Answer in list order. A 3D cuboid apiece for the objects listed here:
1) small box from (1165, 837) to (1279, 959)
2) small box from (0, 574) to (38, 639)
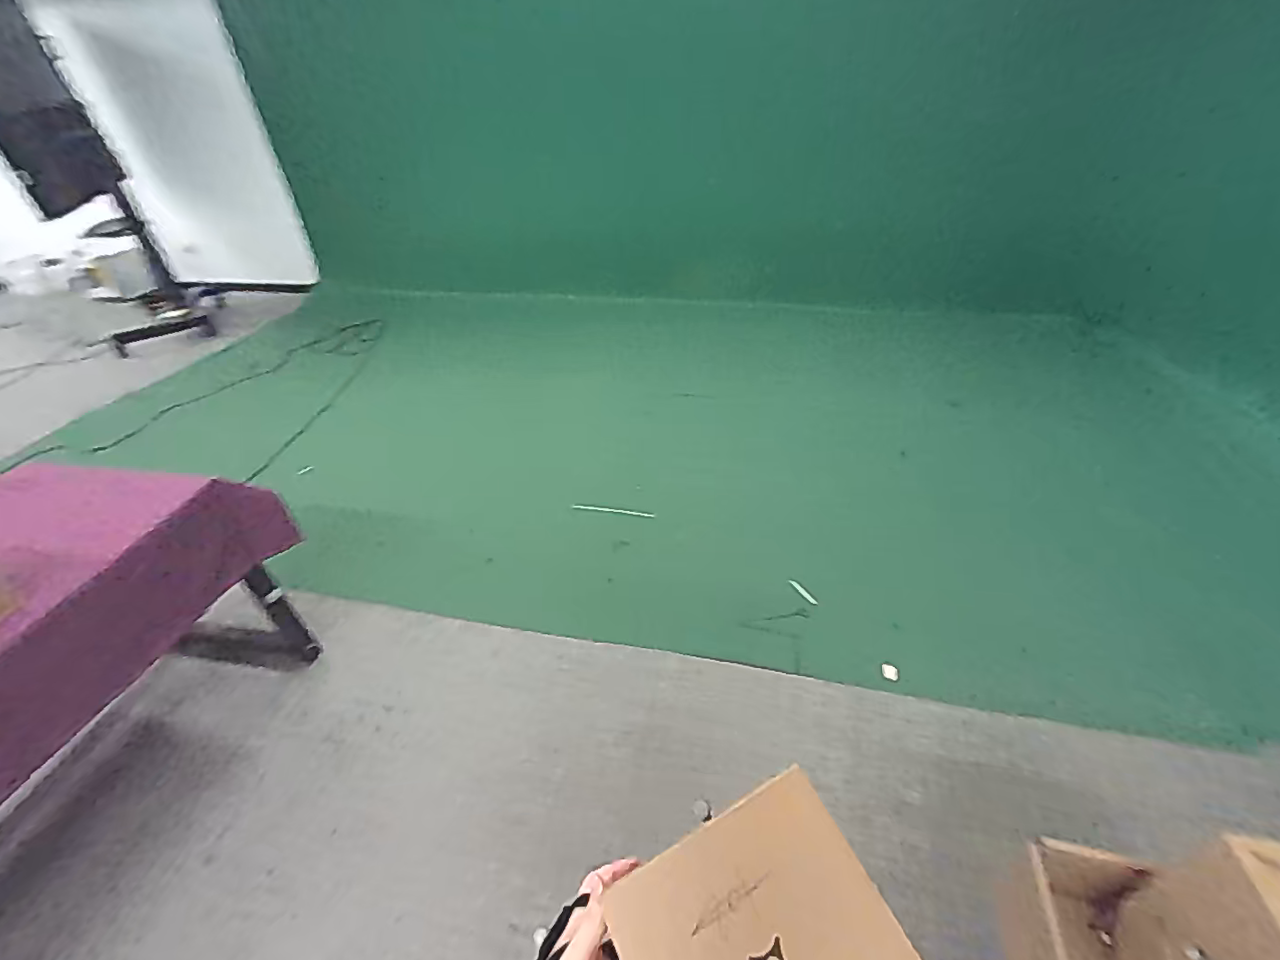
[{"bbox_3d":[0.724,0.519,0.567,0.168,0.176,0.179,6,39,13],"label":"small box"},{"bbox_3d":[-1.309,0.239,1.000,0.179,0.176,0.168,4,38,12],"label":"small box"}]
